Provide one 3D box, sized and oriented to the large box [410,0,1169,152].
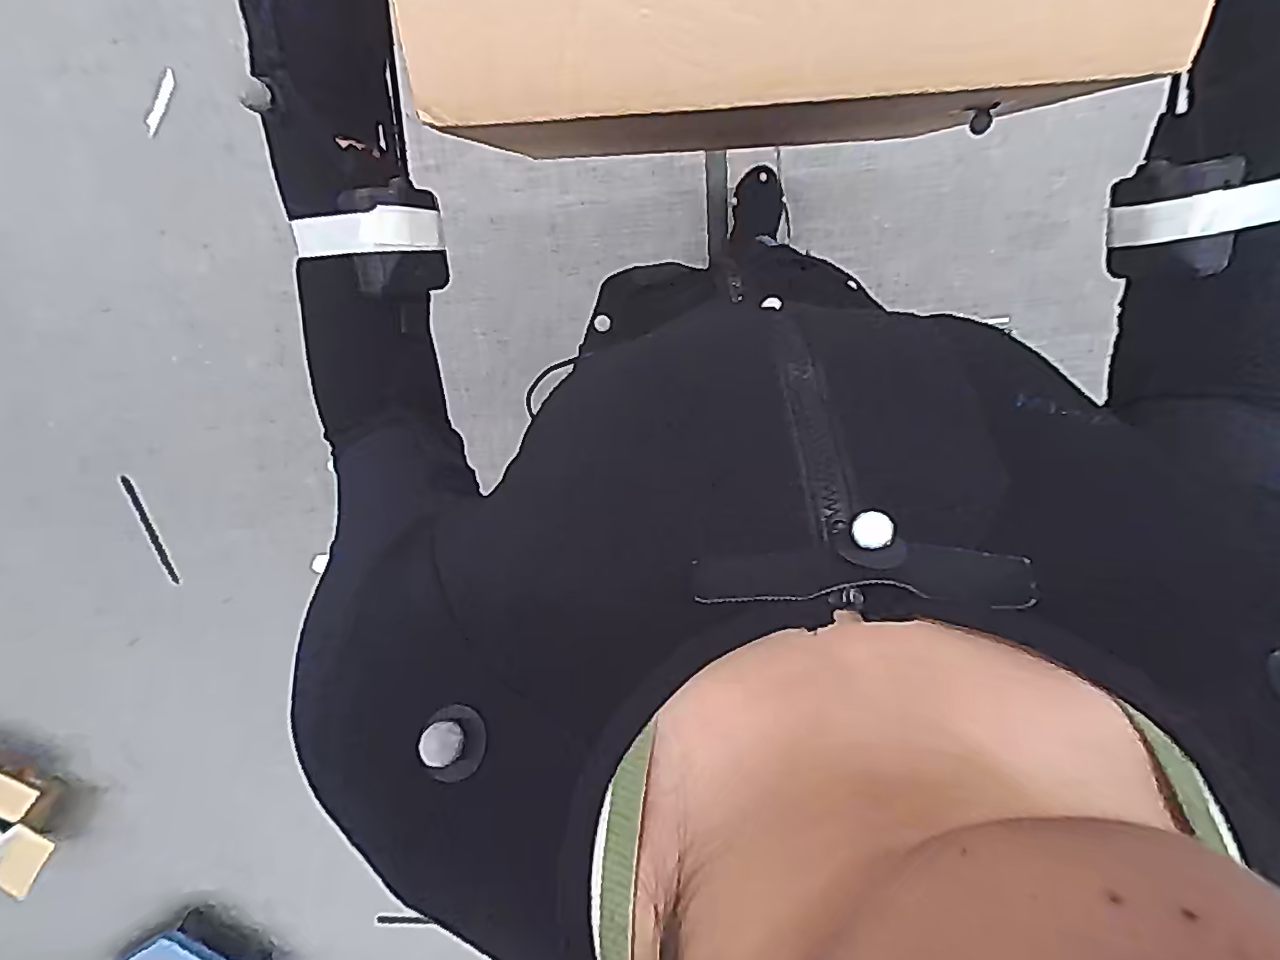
[{"bbox_3d":[0.074,-0.419,0.362,0.408,0.320,0.320,-2,117,3],"label":"large box"}]
